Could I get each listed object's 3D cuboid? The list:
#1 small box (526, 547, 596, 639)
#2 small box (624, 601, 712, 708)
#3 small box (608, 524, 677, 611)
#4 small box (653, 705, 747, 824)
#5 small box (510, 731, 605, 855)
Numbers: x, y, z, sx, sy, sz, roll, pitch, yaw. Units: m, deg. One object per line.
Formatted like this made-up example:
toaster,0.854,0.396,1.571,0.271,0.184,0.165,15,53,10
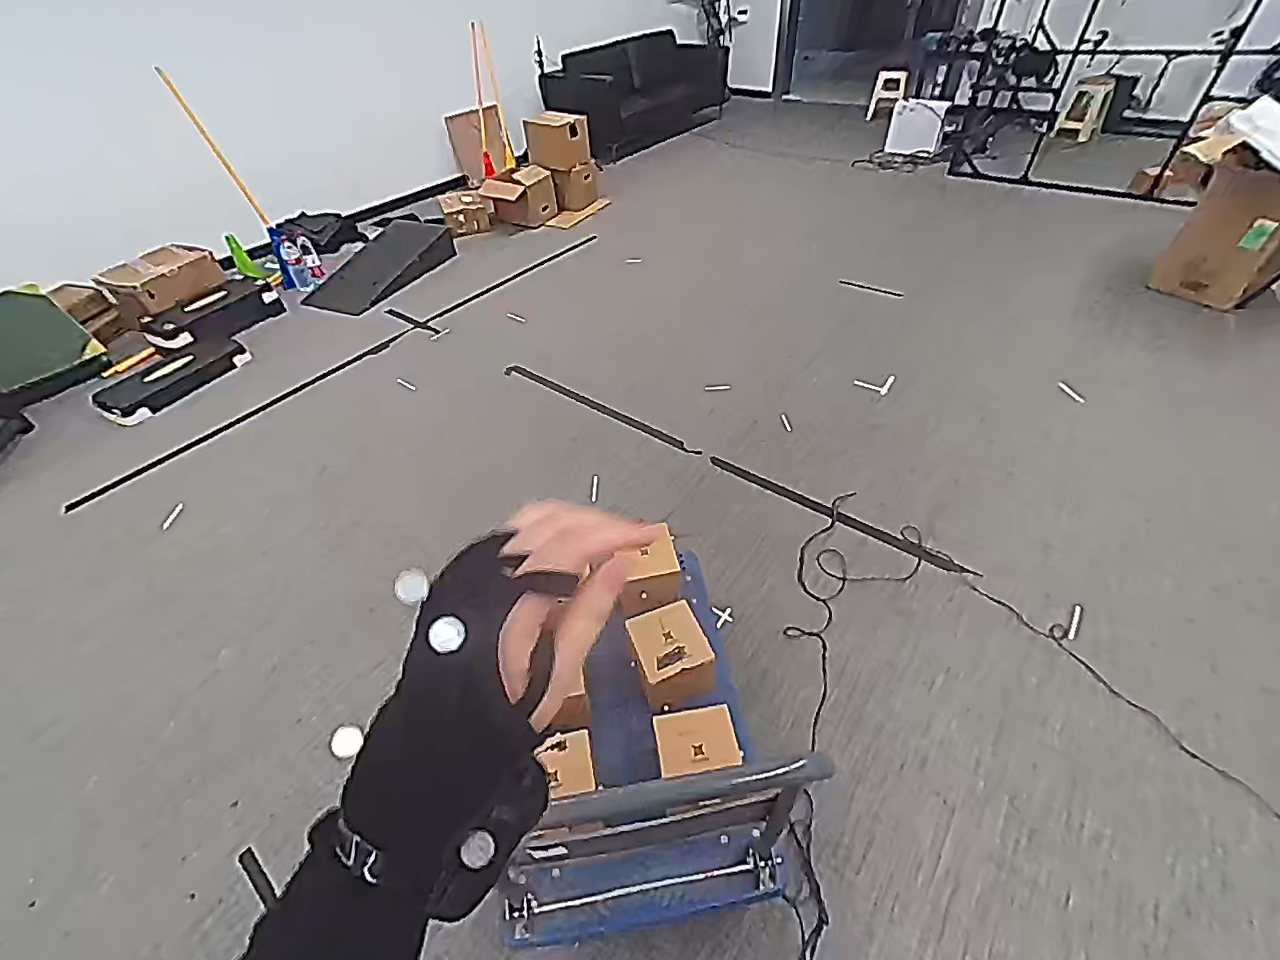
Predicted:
small box,-0.214,0.311,1.485,0.168,0.176,0.179,-7,46,-4
small box,0.069,0.439,1.341,0.168,0.176,0.179,-17,45,-14
small box,0.009,0.255,1.533,0.168,0.176,0.179,-10,45,-7
small box,0.123,0.615,1.160,0.168,0.176,0.179,-7,44,-5
small box,-0.171,0.659,1.130,0.168,0.176,0.179,-10,45,-8
